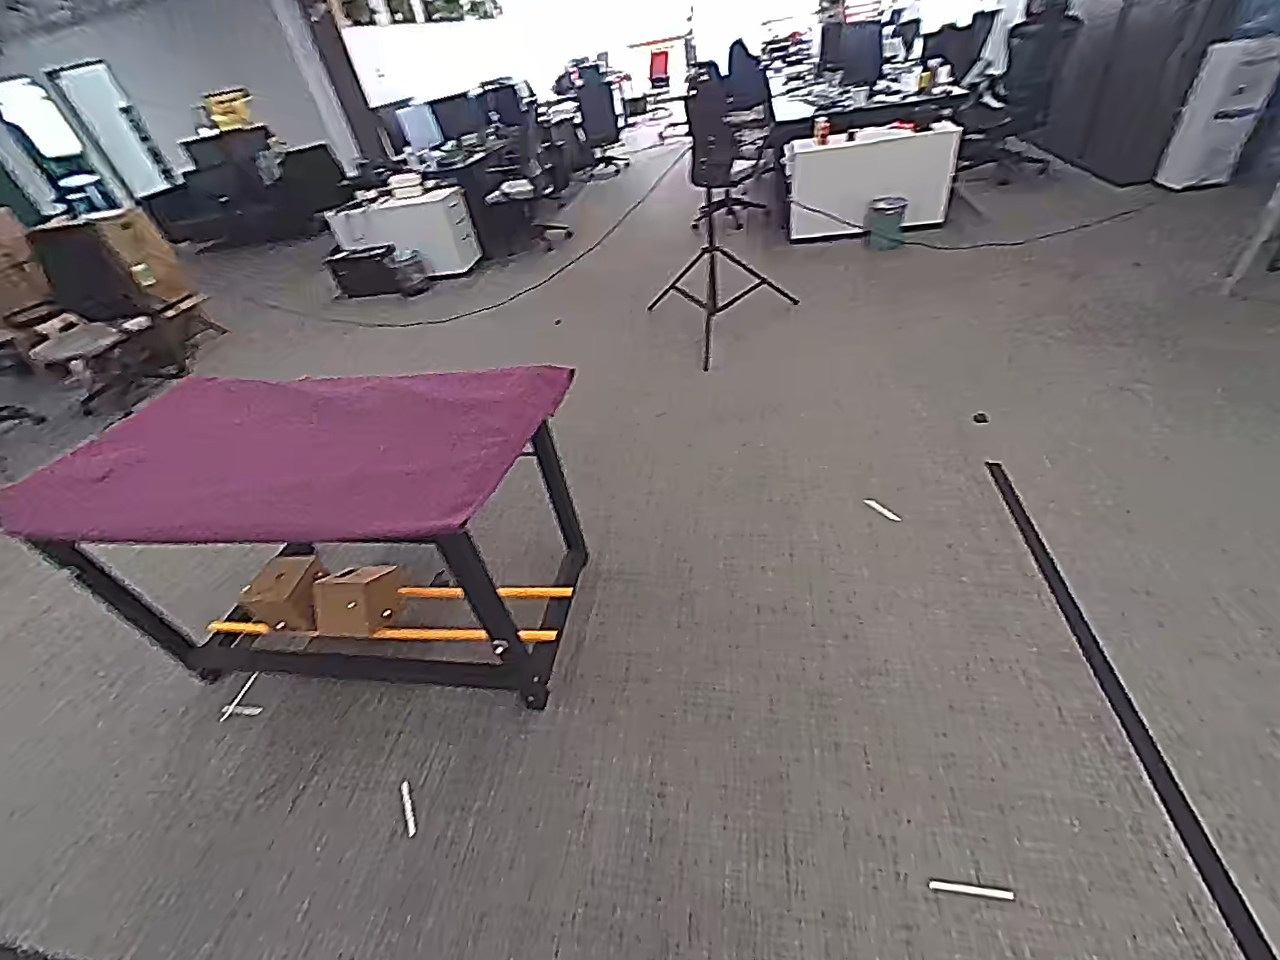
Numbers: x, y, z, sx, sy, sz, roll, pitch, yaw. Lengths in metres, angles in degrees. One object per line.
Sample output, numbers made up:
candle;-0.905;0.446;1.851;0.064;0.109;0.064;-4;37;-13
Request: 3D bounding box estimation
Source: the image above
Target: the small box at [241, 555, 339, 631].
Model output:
small box;-1.091;0.356;1.709;0.168;0.176;0.179;-3;42;10
